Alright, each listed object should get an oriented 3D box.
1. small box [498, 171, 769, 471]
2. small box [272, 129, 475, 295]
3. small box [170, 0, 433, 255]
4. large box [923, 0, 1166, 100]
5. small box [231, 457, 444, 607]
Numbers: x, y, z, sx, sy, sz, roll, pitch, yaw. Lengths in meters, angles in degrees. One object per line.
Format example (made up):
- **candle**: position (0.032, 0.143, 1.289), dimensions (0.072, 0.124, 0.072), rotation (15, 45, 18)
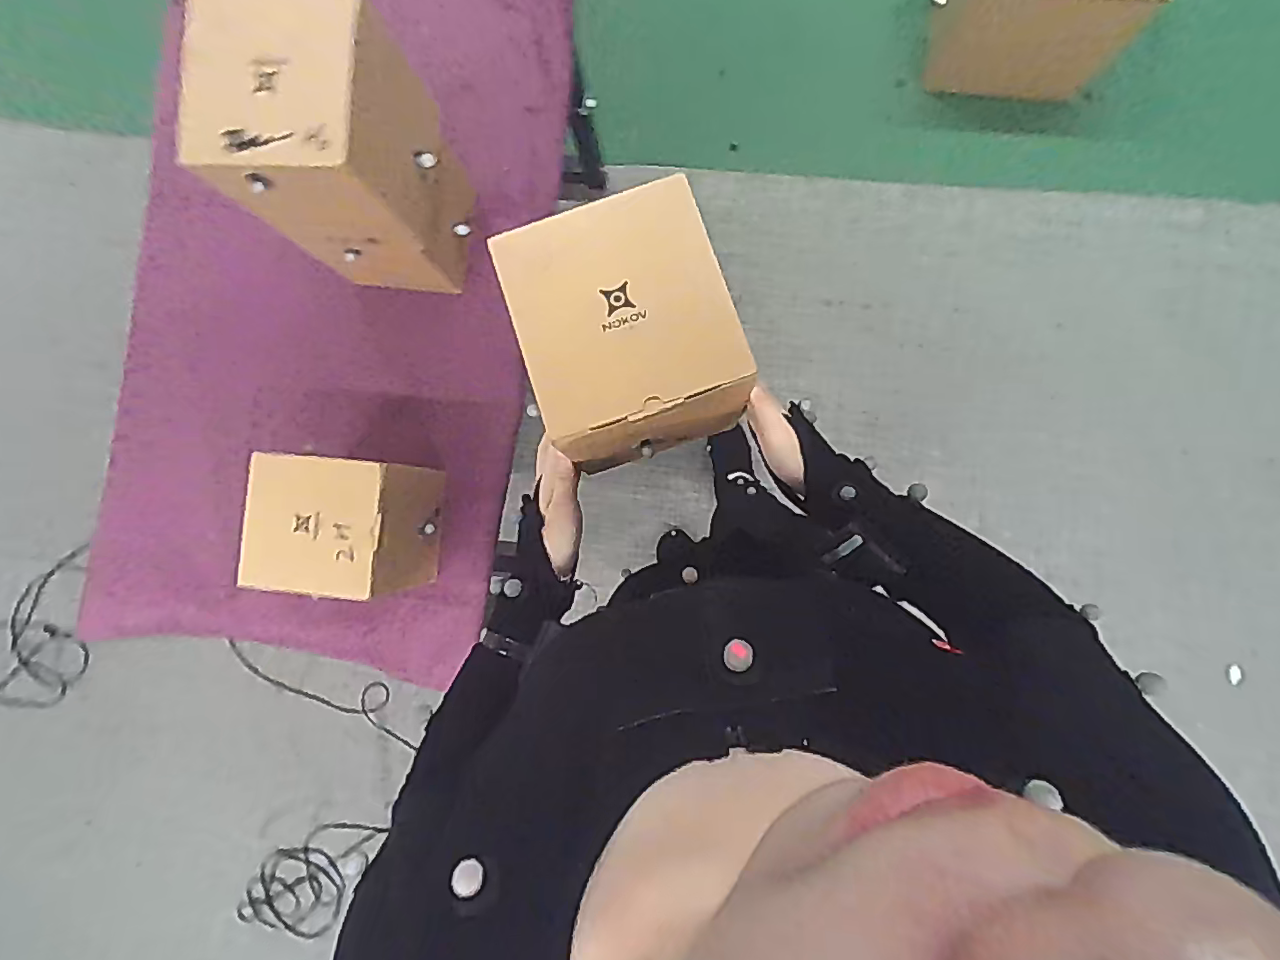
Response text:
- **small box**: position (-0.004, -0.121, 0.480), dimensions (0.168, 0.176, 0.179), rotation (-18, 82, 1)
- **small box**: position (-0.351, -0.368, 0.741), dimensions (0.179, 0.176, 0.168), rotation (7, 88, 5)
- **small box**: position (-0.338, -0.366, 0.575), dimensions (0.168, 0.176, 0.179), rotation (4, 87, 5)
- **large box**: position (0.975, -1.200, 1.332), dimensions (0.408, 0.320, 0.320), rotation (8, 88, 4)
- **small box**: position (-0.388, 0.065, 0.719), dimensions (0.179, 0.176, 0.168), rotation (5, 88, 6)
